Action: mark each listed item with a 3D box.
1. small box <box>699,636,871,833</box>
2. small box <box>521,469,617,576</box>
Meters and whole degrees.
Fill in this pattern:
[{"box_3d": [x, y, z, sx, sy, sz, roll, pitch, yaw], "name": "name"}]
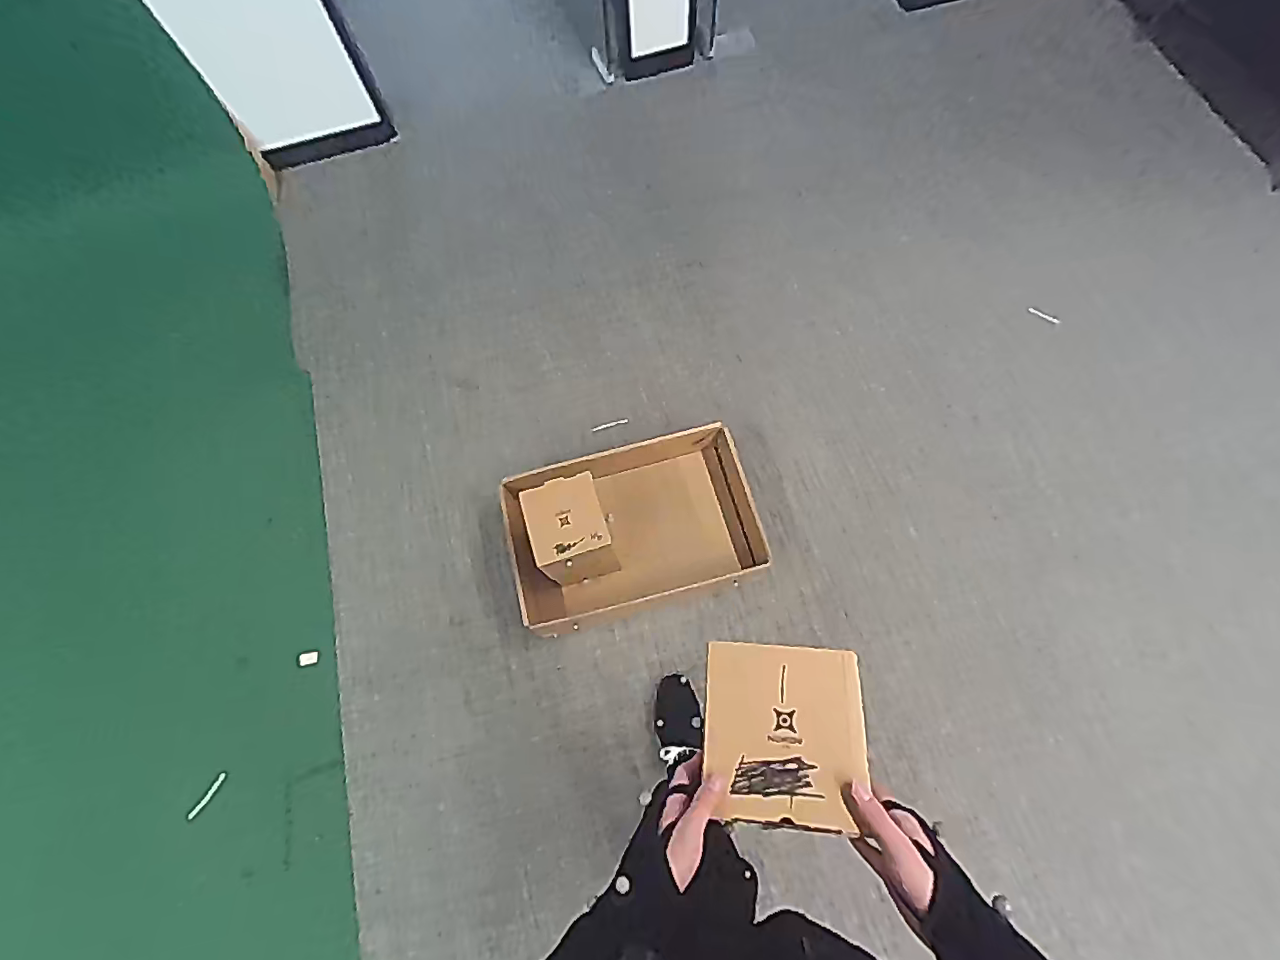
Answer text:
[{"box_3d": [0.158, 0.298, 0.634, 0.168, 0.176, 0.179, 2, 58, 8], "name": "small box"}, {"box_3d": [-0.157, 0.102, 1.227, 0.168, 0.176, 0.179, -17, 70, -3], "name": "small box"}]
